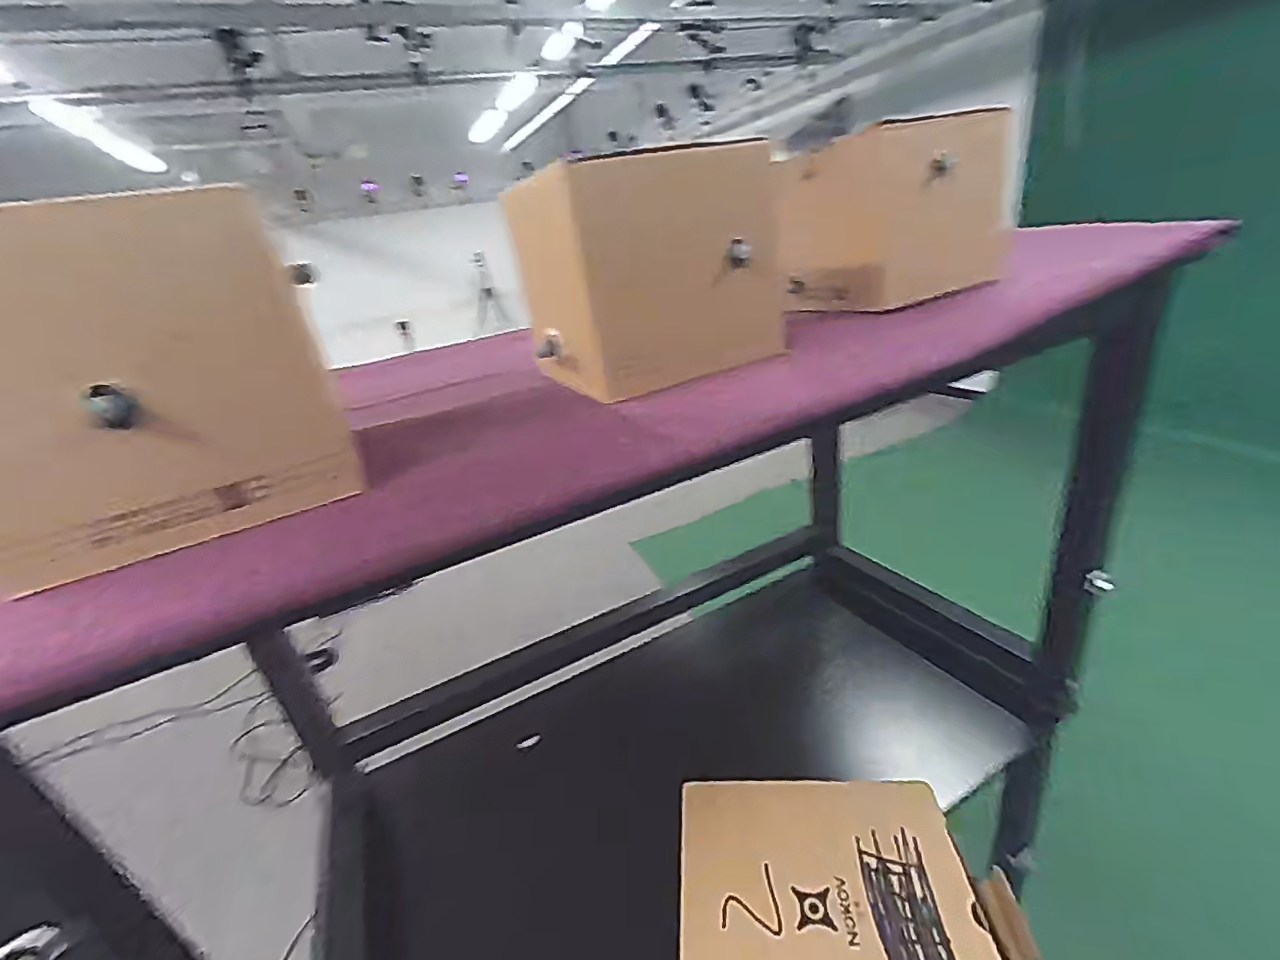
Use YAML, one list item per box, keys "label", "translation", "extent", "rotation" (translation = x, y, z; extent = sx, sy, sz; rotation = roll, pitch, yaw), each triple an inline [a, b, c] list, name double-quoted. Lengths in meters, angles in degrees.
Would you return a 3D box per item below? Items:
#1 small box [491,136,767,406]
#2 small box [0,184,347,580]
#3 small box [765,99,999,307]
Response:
- label: "small box"
  translation: [-0.006, -0.179, 0.471]
  extent: [0.179, 0.176, 0.168]
  rotation: [-22, 27, -22]
- label: "small box"
  translation: [-0.292, -0.062, 0.322]
  extent: [0.168, 0.176, 0.179]
  rotation: [-20, 27, -23]
- label: "small box"
  translation: [0.264, -0.295, 0.606]
  extent: [0.179, 0.176, 0.168]
  rotation: [-19, 24, -19]
